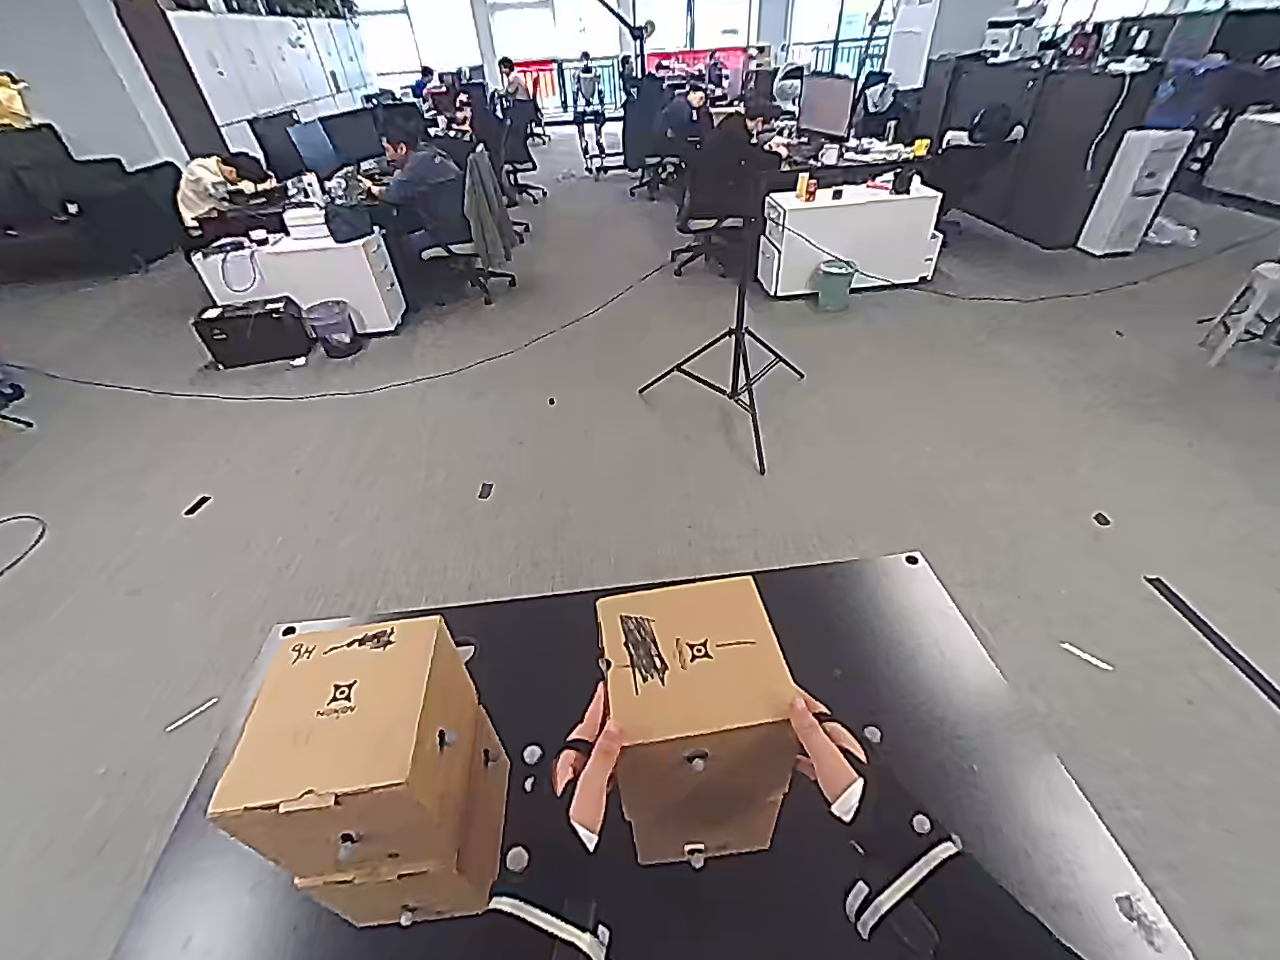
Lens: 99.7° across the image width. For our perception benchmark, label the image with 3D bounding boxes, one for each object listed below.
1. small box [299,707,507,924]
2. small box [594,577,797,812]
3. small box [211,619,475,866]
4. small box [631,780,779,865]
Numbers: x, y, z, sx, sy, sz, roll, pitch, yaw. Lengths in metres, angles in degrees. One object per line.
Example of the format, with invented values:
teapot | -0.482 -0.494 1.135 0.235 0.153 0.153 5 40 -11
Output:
small box | -0.266 0.407 0.661 0.168 0.176 0.179 -6 40 -1
small box | 0.052 0.232 0.586 0.179 0.176 0.168 -8 39 -4
small box | -0.280 0.275 0.564 0.168 0.176 0.179 -7 40 -3
small box | 0.067 0.357 0.693 0.168 0.176 0.179 -8 40 -2
